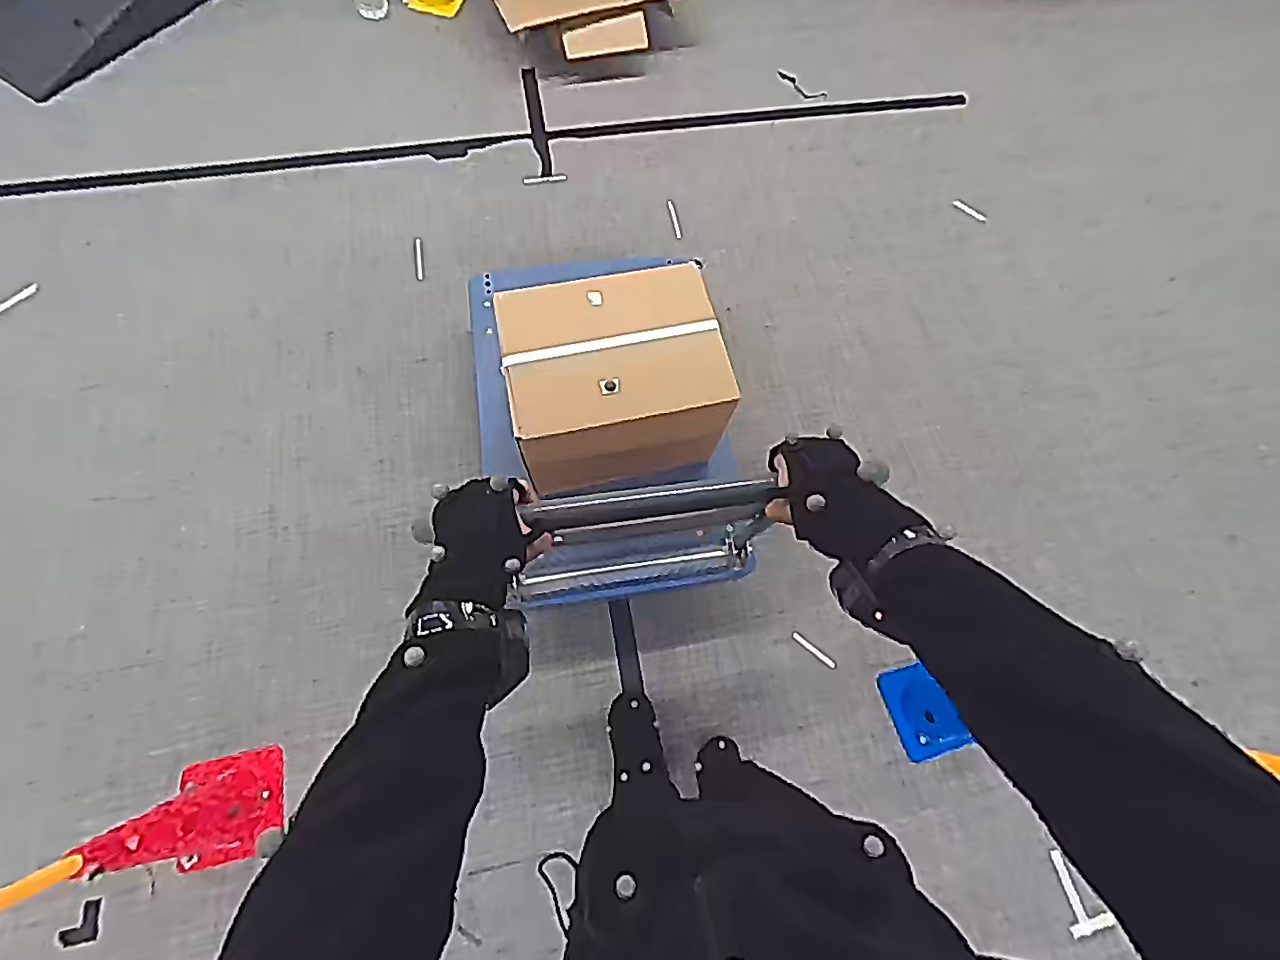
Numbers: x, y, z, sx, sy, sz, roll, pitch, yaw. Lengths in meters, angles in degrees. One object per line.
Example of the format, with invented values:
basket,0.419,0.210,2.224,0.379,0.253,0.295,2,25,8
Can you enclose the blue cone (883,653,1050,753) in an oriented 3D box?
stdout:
blue cone,0.697,0.467,1.120,0.193,0.380,0.192,-13,71,-9
